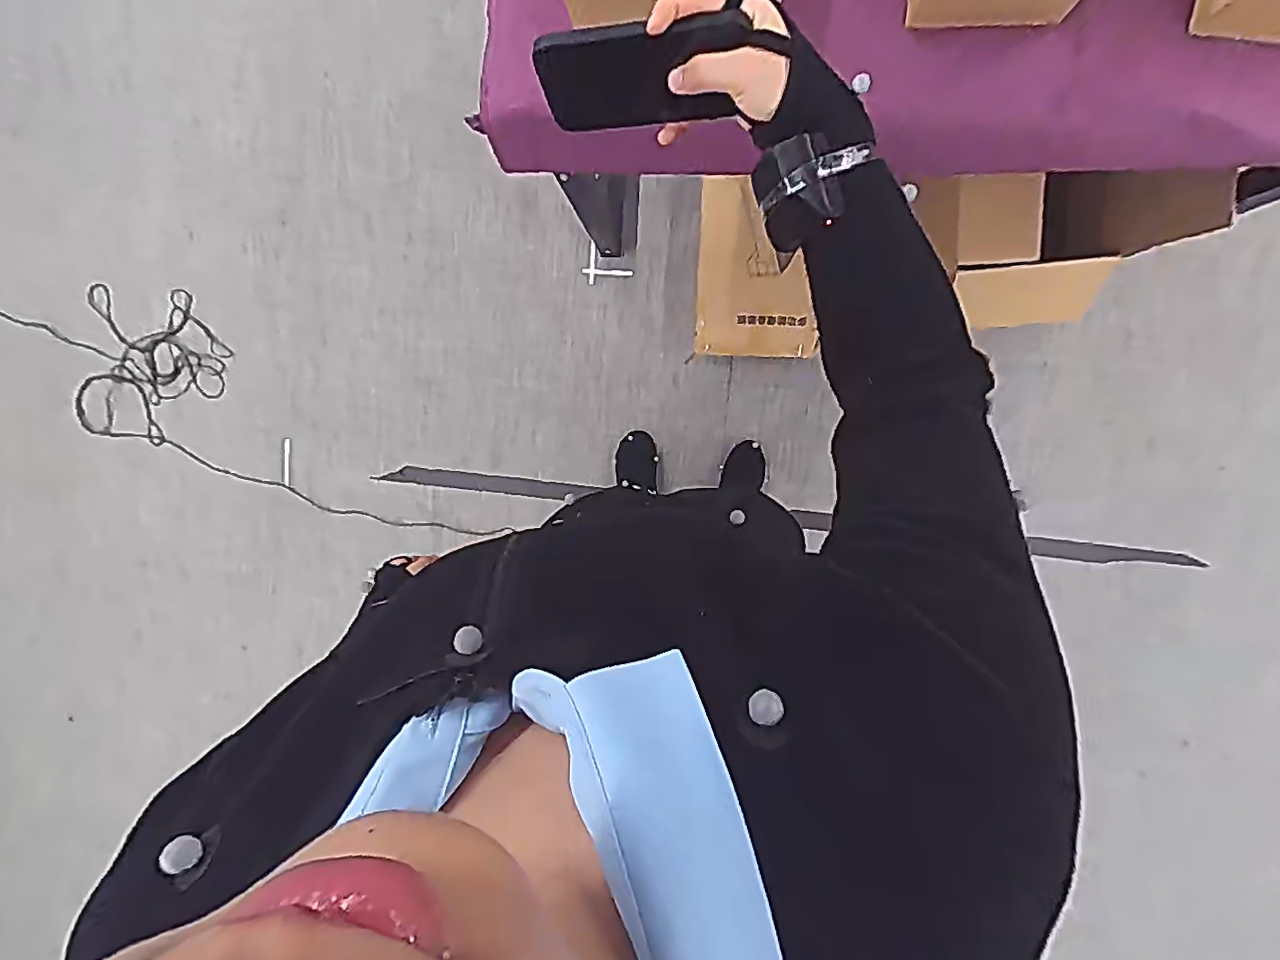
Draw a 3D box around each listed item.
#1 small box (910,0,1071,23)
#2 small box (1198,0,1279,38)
[{"bbox_3d":[0.404,-0.611,0.549,0.179,0.176,0.168,3,94,5],"label":"small box"},{"bbox_3d":[0.718,-0.569,0.523,0.179,0.176,0.168,10,97,4],"label":"small box"}]
